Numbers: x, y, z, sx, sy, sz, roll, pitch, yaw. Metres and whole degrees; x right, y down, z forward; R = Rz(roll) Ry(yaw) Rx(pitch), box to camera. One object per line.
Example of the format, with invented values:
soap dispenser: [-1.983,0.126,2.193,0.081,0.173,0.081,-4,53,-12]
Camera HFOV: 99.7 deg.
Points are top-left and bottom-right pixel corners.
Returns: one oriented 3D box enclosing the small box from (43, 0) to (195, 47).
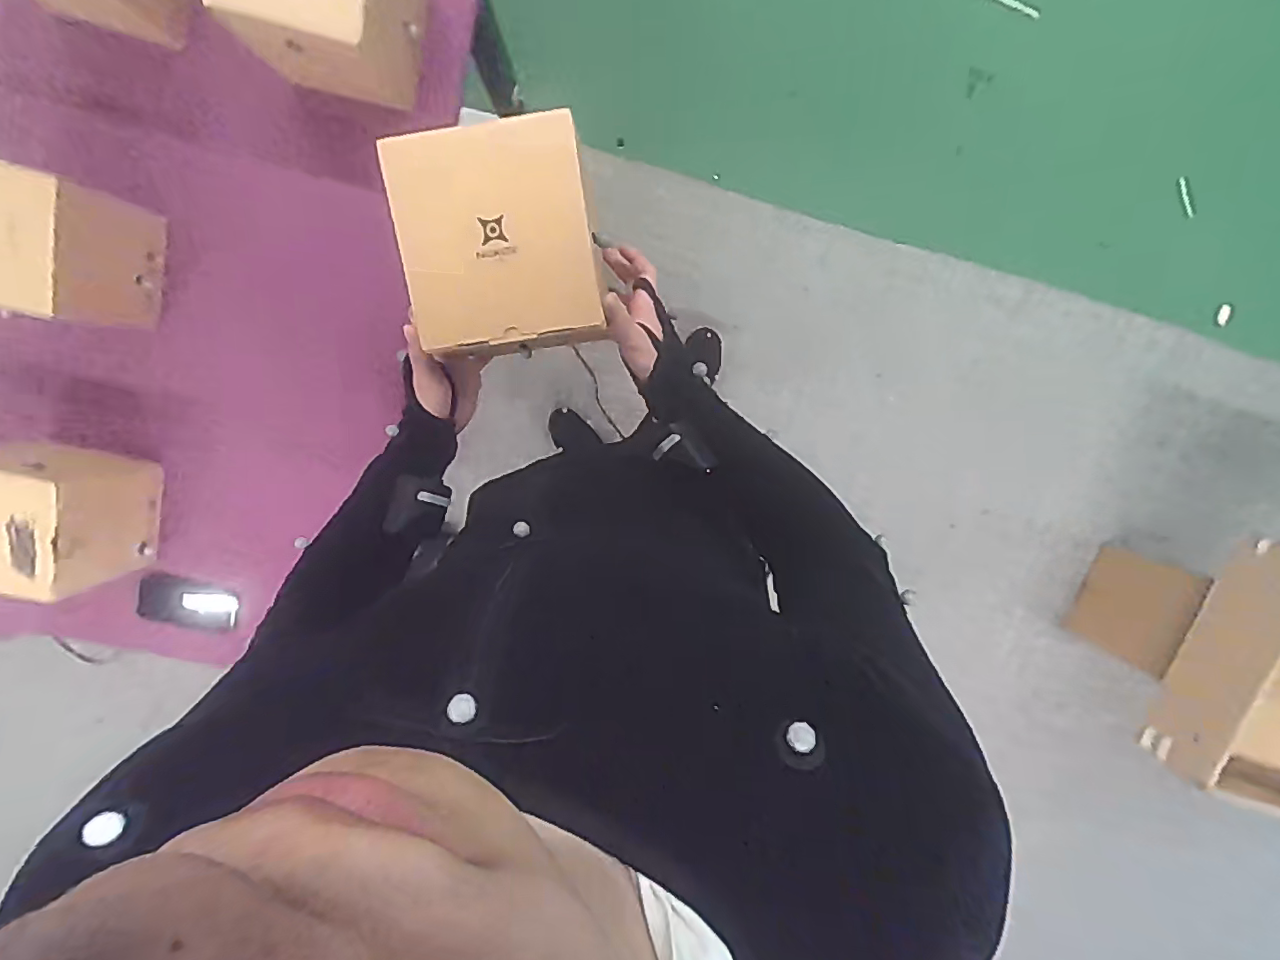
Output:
small box: [-0.690,-0.679,0.656,0.179,0.176,0.168,14,100,-4]

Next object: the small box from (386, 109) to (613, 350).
small box: [-0.120,-0.228,0.538,0.168,0.176,0.179,-7,103,2]

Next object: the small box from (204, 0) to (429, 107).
small box: [-0.389,-0.606,0.676,0.179,0.176,0.168,12,101,-5]

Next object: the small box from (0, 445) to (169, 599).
small box: [-0.837,0.050,0.783,0.179,0.176,0.168,12,99,-4]

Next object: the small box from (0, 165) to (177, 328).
small box: [-0.781,-0.307,0.722,0.179,0.176,0.168,12,100,-5]
